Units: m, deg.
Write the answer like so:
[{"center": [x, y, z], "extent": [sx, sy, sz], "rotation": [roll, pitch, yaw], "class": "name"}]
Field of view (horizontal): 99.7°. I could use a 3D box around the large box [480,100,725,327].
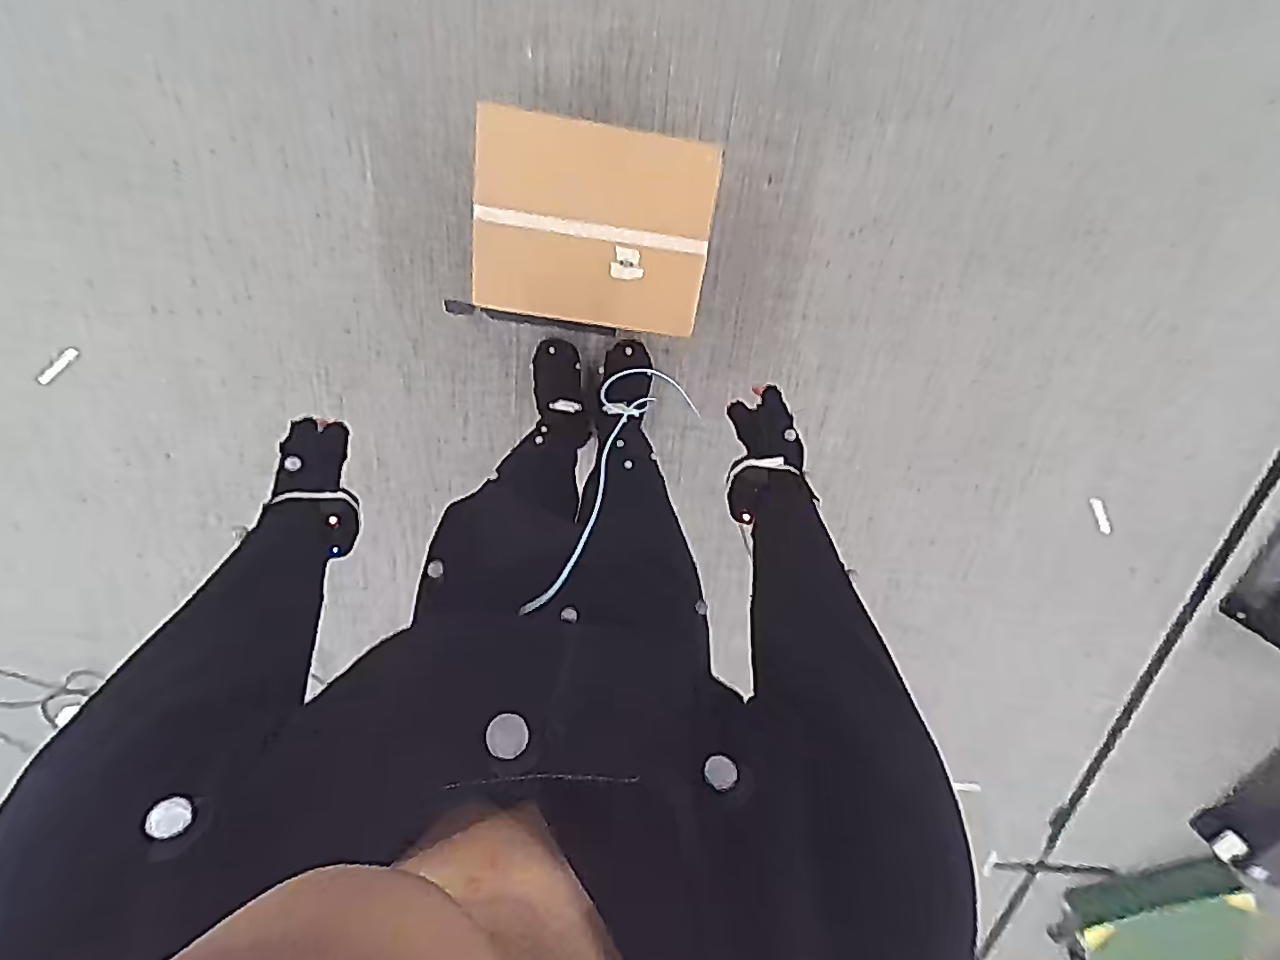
[{"center": [-0.081, -0.504, 1.072], "extent": [0.408, 0.320, 0.320], "rotation": [7, 114, -5], "class": "large box"}]
